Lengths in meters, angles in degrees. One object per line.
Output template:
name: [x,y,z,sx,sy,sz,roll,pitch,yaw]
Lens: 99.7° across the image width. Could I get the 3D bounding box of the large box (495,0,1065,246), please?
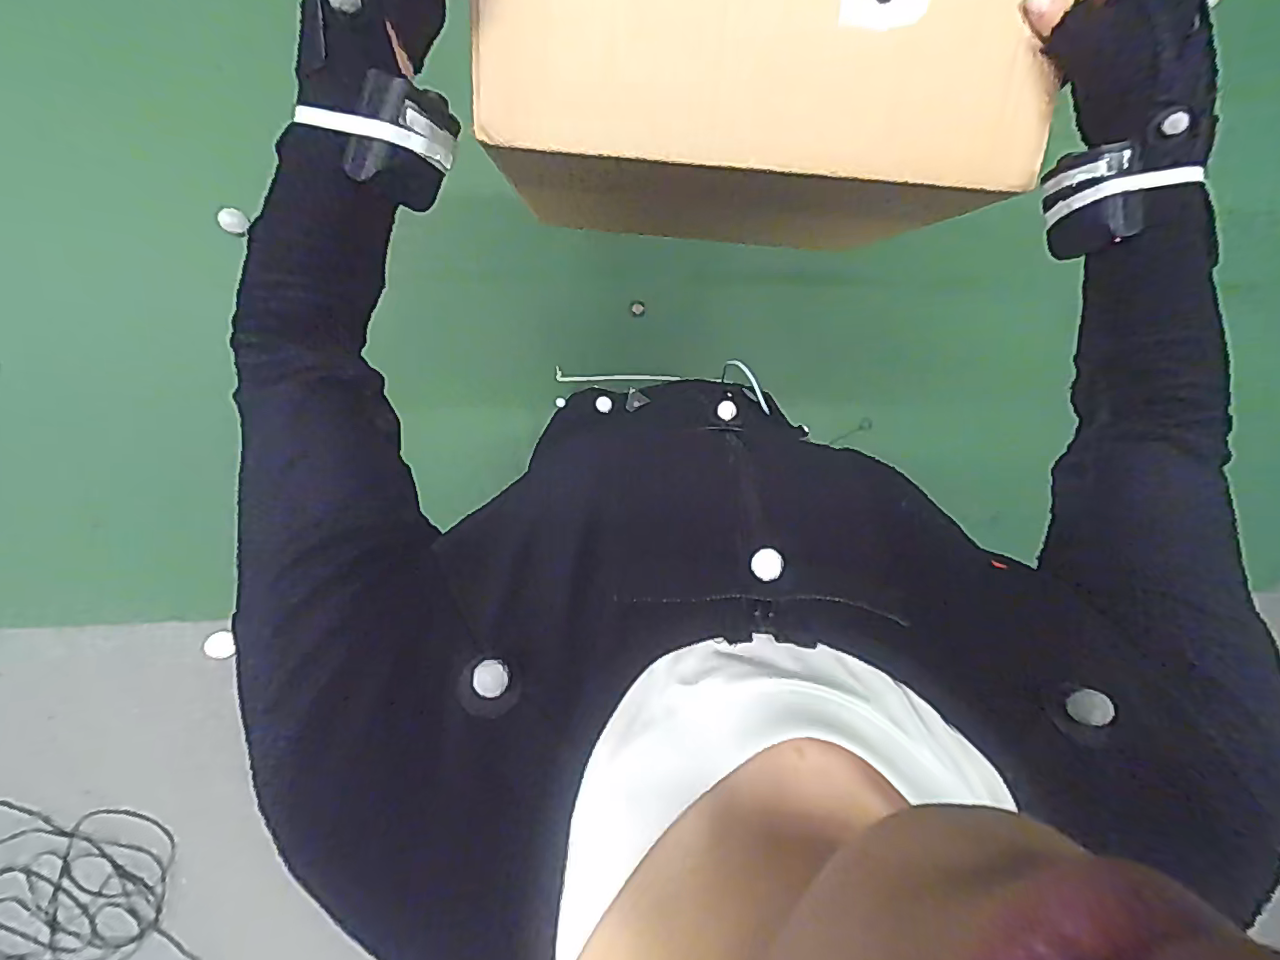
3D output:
large box: [0.093,-0.417,0.502,0.408,0.320,0.320,3,106,-4]
